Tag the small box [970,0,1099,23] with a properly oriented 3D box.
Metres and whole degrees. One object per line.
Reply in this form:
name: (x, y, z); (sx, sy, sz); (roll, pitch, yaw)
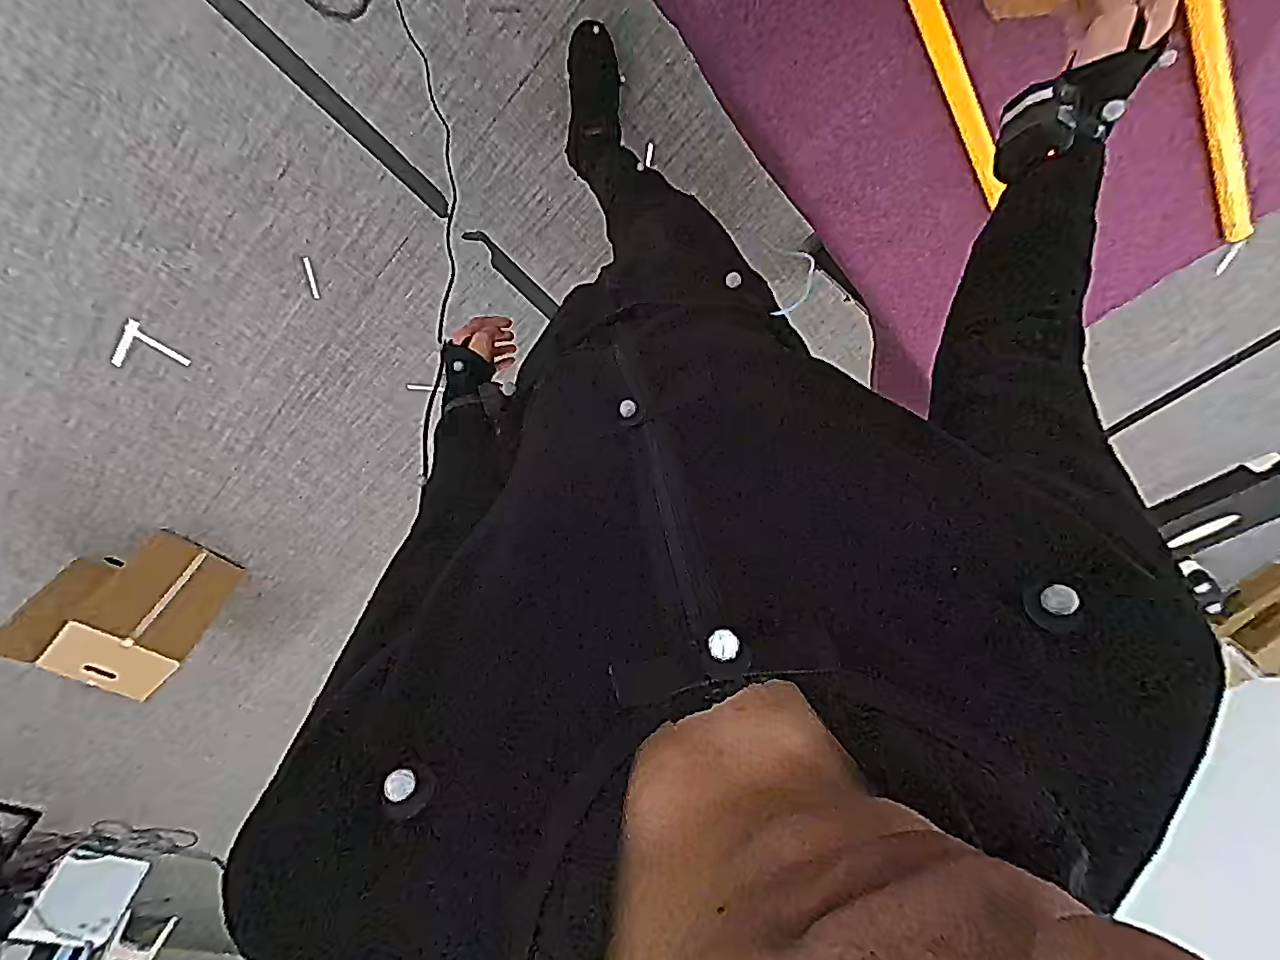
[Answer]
small box: (0.380, -0.553, 0.472); (0.179, 0.176, 0.168); (35, 118, -28)
